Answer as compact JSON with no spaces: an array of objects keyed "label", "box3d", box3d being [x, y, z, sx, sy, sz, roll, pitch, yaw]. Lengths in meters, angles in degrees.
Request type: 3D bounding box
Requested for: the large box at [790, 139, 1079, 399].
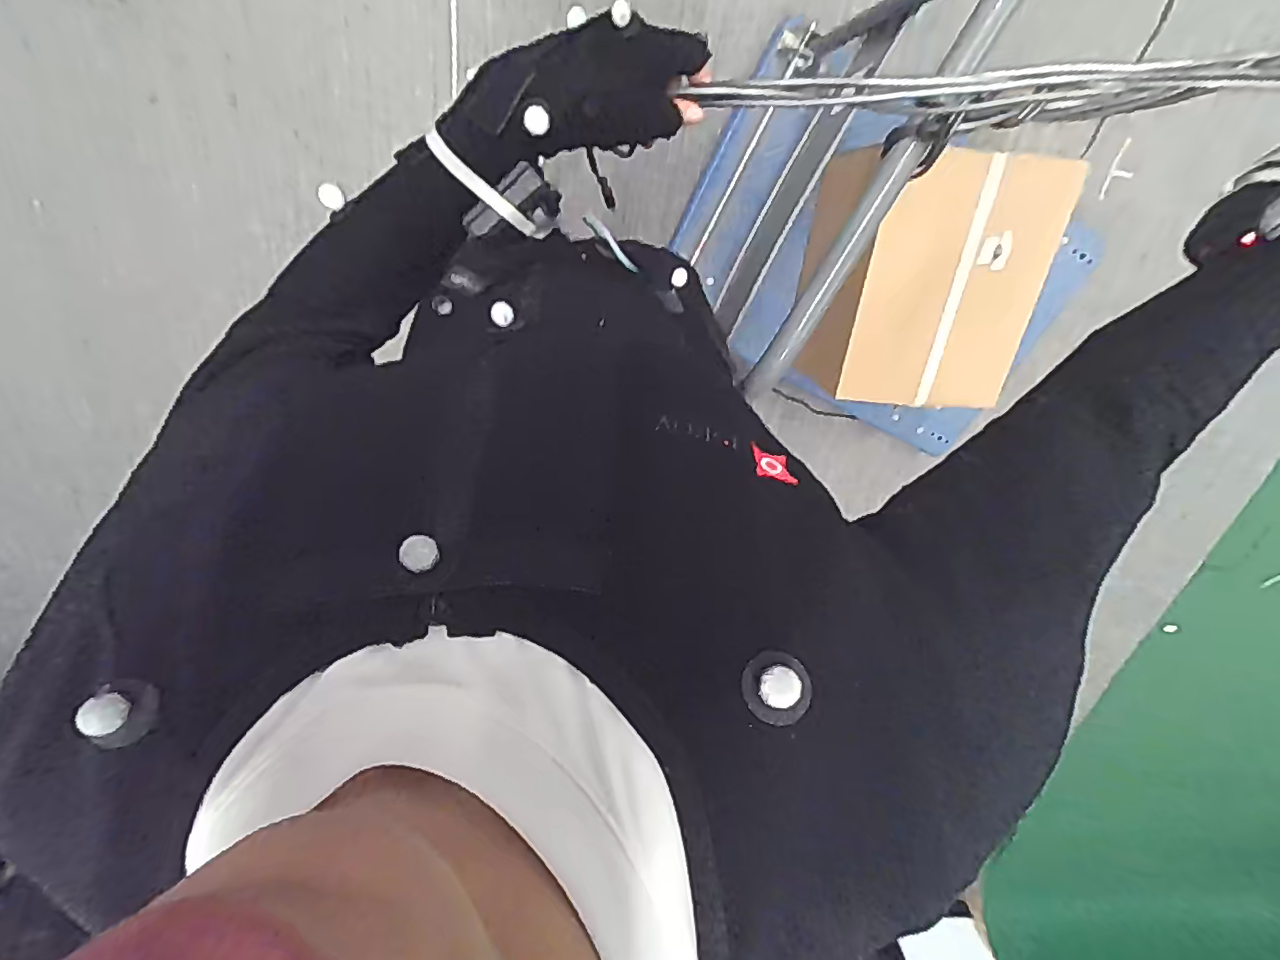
[{"label":"large box","box3d":[0.516,-0.398,1.052,0.320,0.320,0.408,3,116,-6]}]
